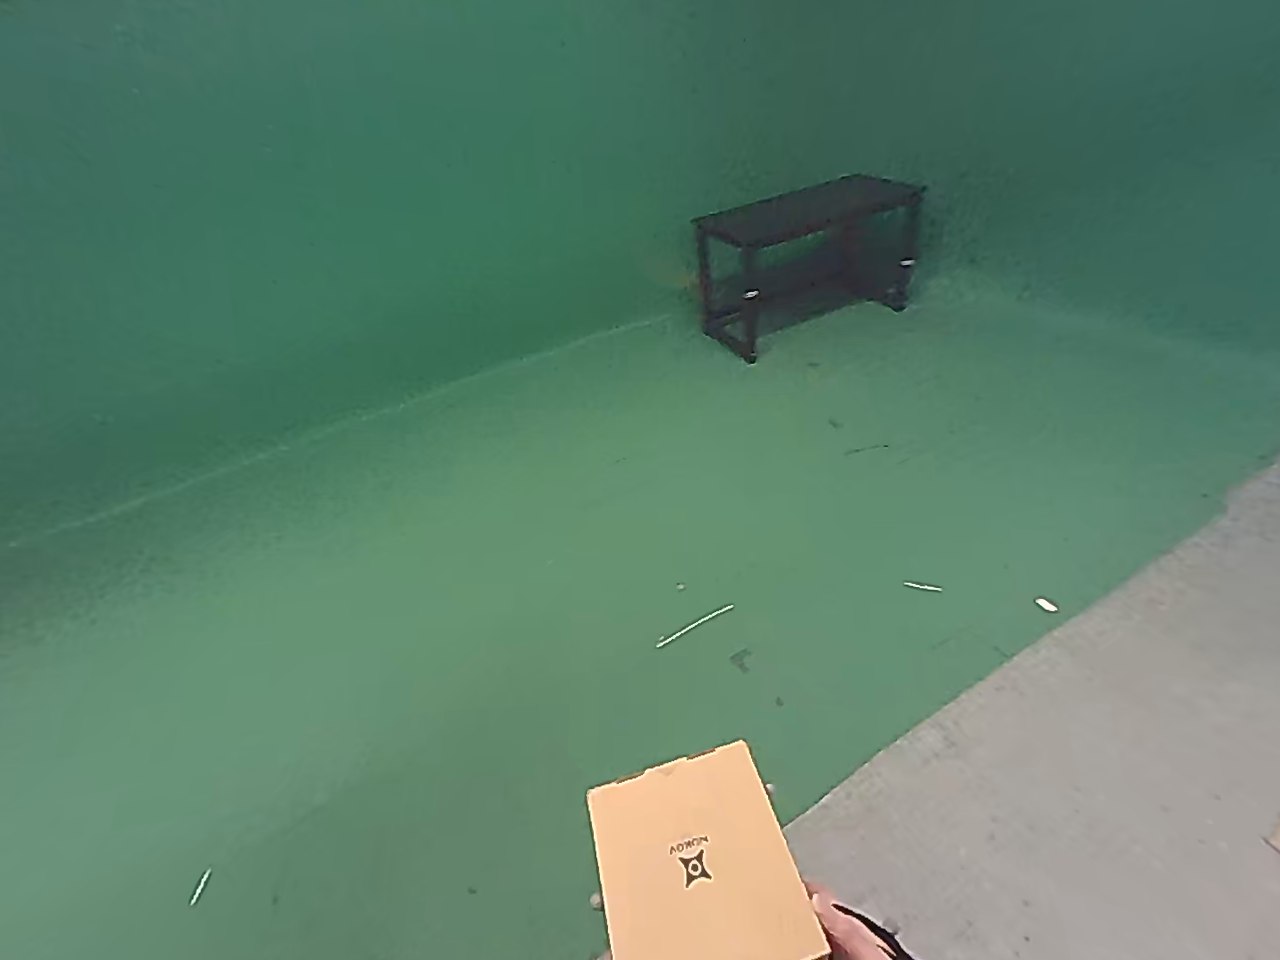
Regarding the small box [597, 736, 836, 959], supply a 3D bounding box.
[{"bbox_3d":[0.068,0.386,0.511,0.168,0.176,0.179,-15,35,-5],"label":"small box"}]
